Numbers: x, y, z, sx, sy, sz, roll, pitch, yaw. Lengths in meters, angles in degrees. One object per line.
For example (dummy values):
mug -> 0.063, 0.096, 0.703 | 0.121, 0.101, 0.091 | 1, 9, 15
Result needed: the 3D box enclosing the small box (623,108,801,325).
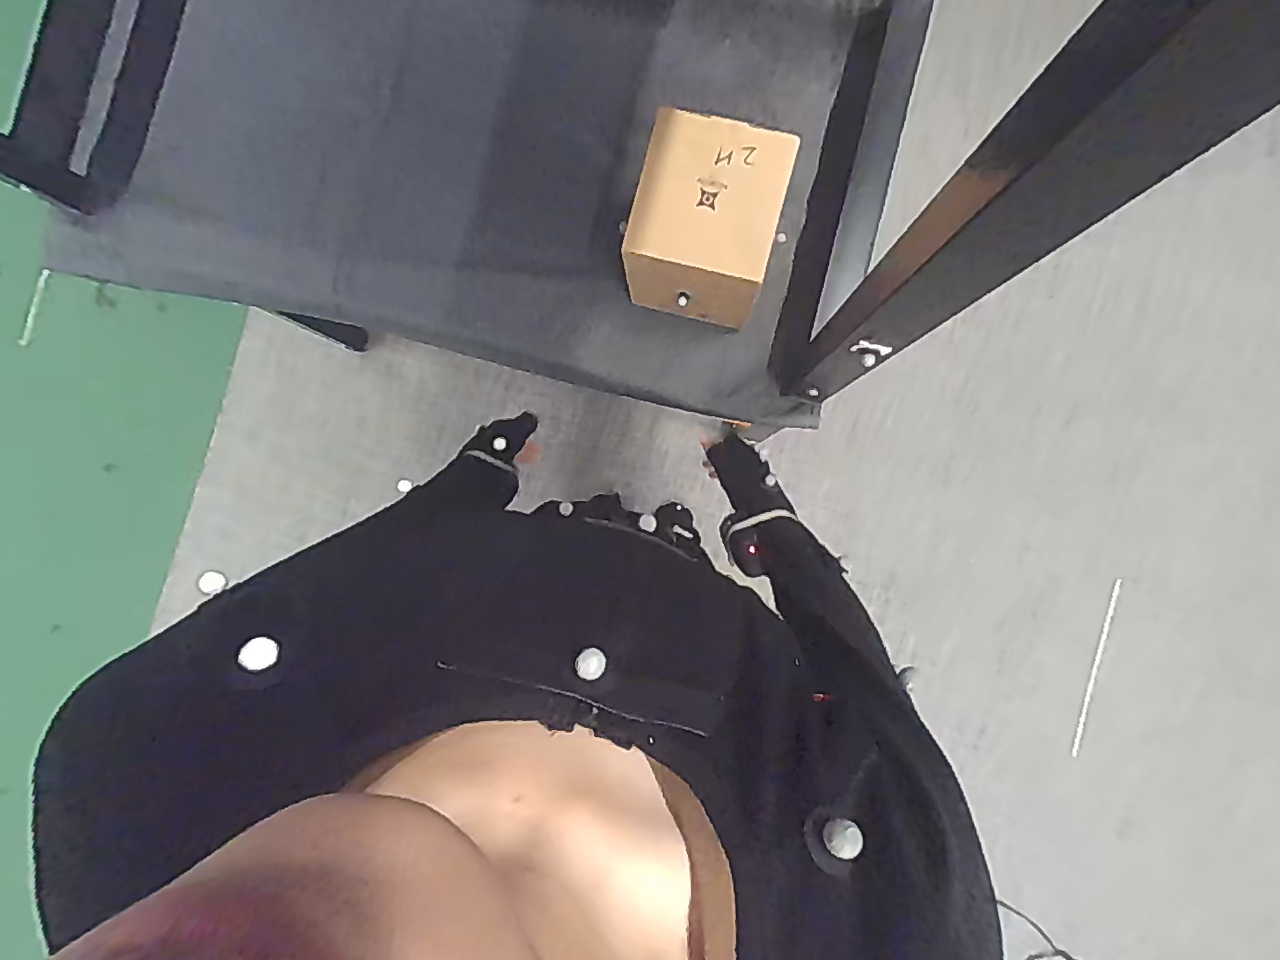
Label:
small box -> 0.086, -0.319, 0.691 | 0.168, 0.176, 0.179 | 16, 88, 3
